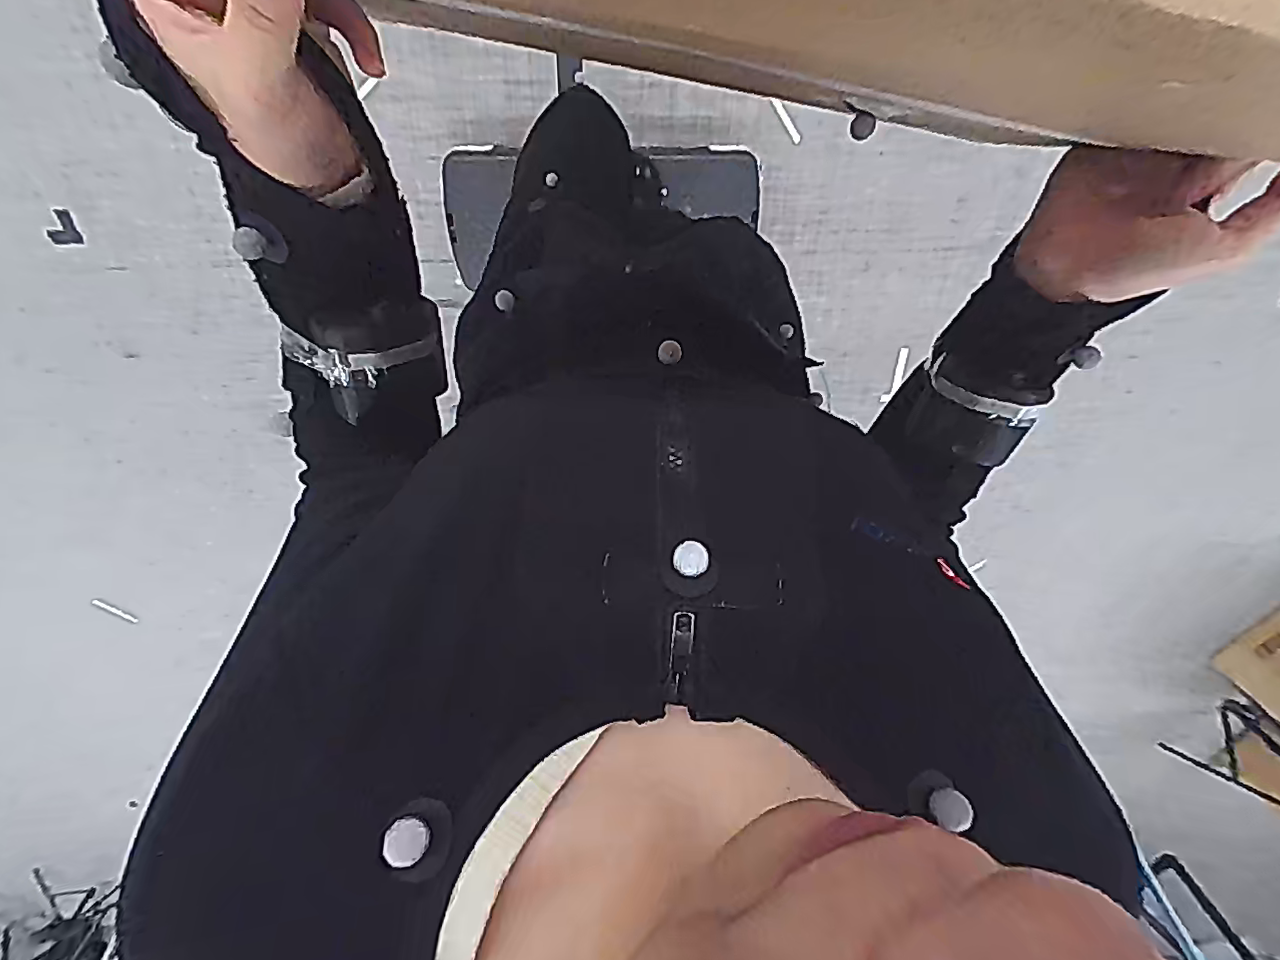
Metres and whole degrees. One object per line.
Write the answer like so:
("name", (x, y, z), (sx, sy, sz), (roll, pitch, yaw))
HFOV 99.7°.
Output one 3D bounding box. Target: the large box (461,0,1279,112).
("large box", (0.080, -0.311, 0.130), (0.408, 0.320, 0.320), (2, 125, -11))
